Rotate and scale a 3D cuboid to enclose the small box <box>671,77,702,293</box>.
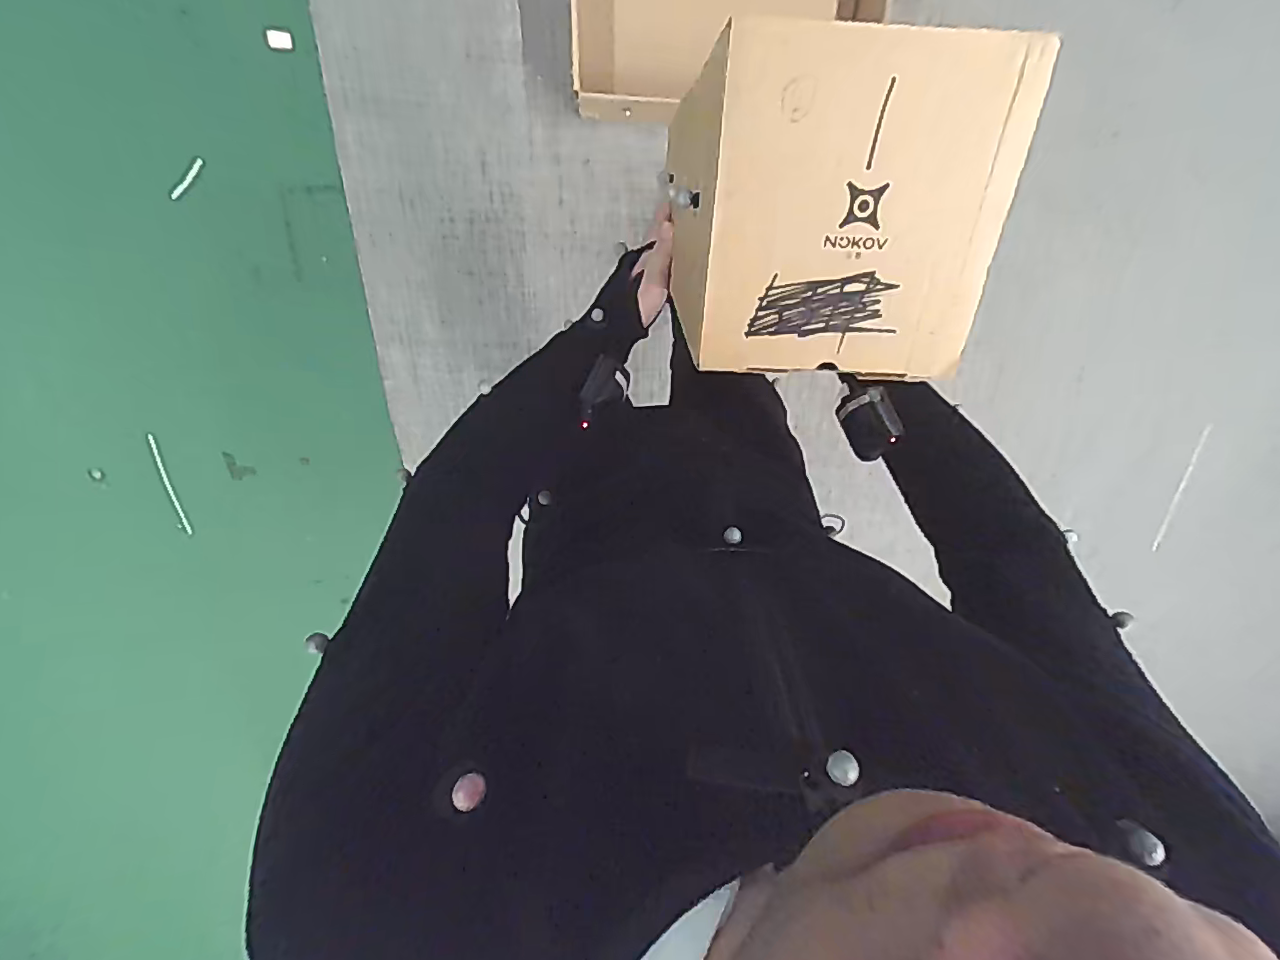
[{"bbox_3d":[0.121,-0.272,0.509,0.168,0.176,0.179,3,120,-3],"label":"small box"}]

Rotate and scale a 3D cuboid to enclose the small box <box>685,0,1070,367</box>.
[{"bbox_3d":[0.123,-0.189,0.368,0.168,0.176,0.179,2,118,-2],"label":"small box"}]
